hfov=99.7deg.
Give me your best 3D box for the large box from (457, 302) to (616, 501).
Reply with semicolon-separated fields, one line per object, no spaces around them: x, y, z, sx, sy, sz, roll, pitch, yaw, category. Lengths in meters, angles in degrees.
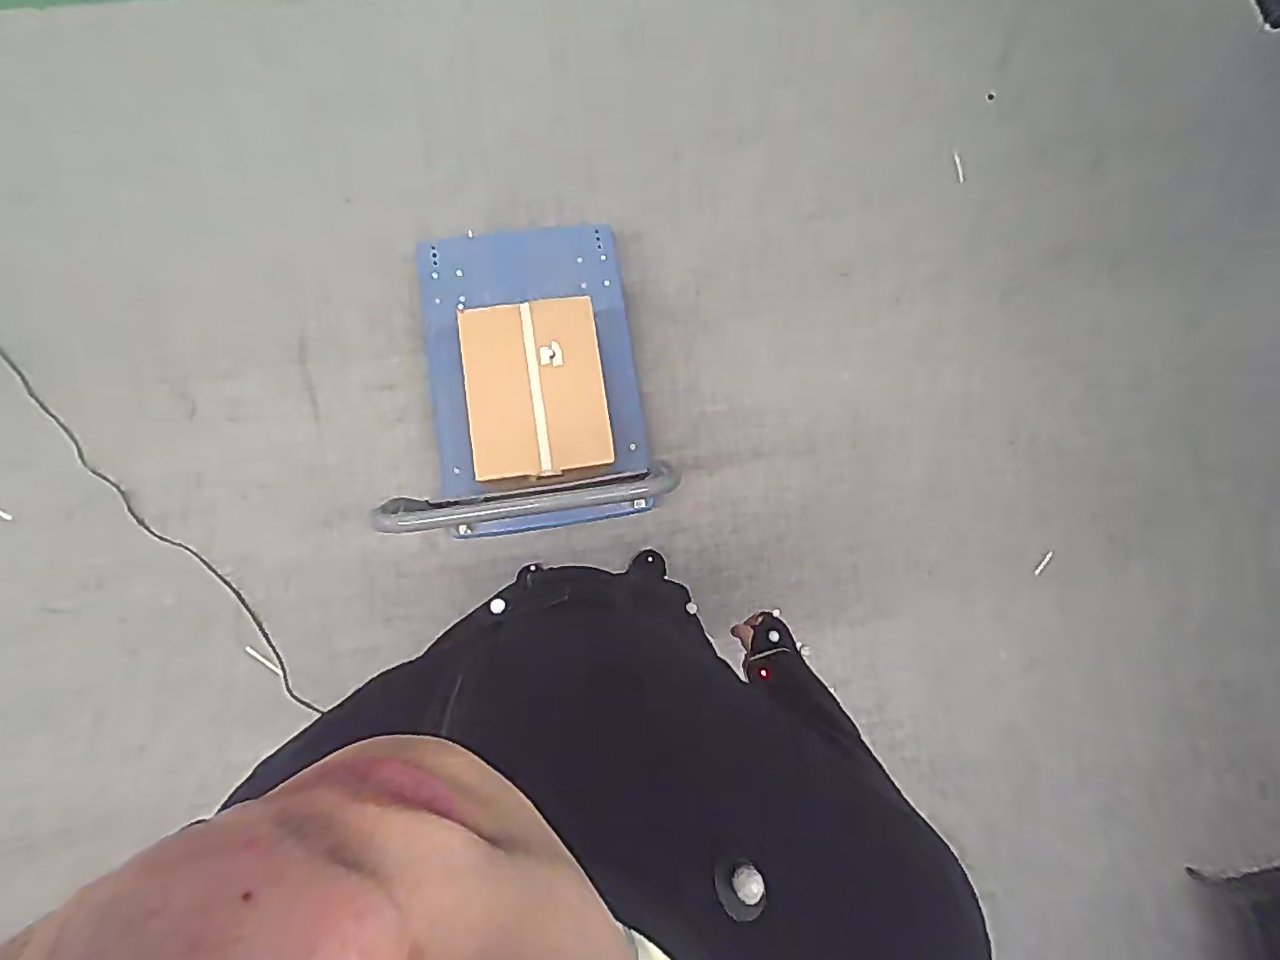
-0.249;-0.181;1.381;0.320;0.320;0.408;-8;81;-7;large box
